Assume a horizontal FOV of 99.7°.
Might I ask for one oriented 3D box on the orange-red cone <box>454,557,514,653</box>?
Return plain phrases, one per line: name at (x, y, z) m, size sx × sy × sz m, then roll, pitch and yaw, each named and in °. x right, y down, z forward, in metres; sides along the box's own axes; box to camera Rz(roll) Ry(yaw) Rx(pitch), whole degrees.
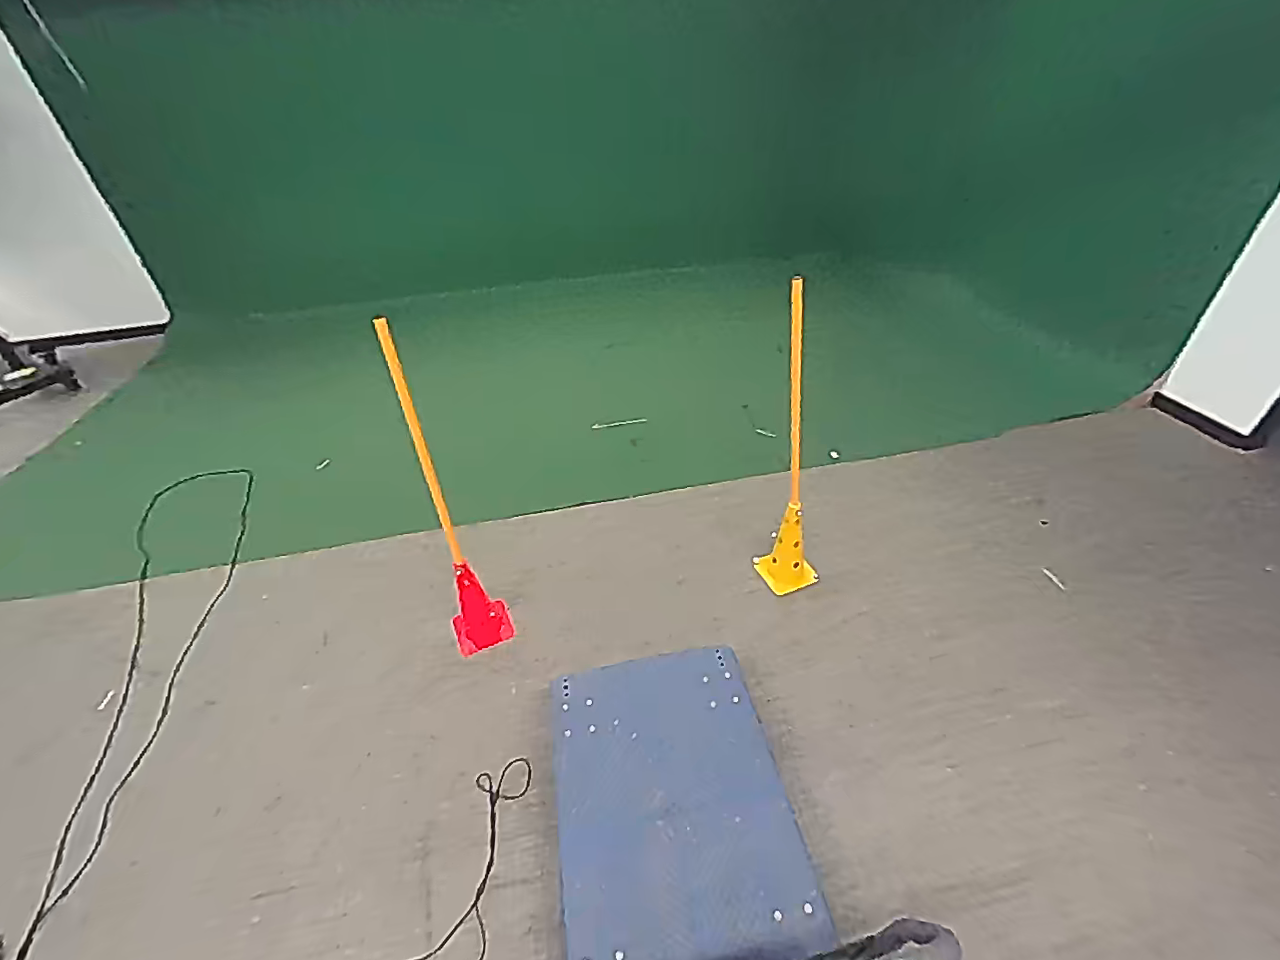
orange-red cone at (-0.593, 0.409, 1.908) m, size 0.199 × 0.360 × 0.198 m, roll -20°, pitch 41°, yaw -17°
